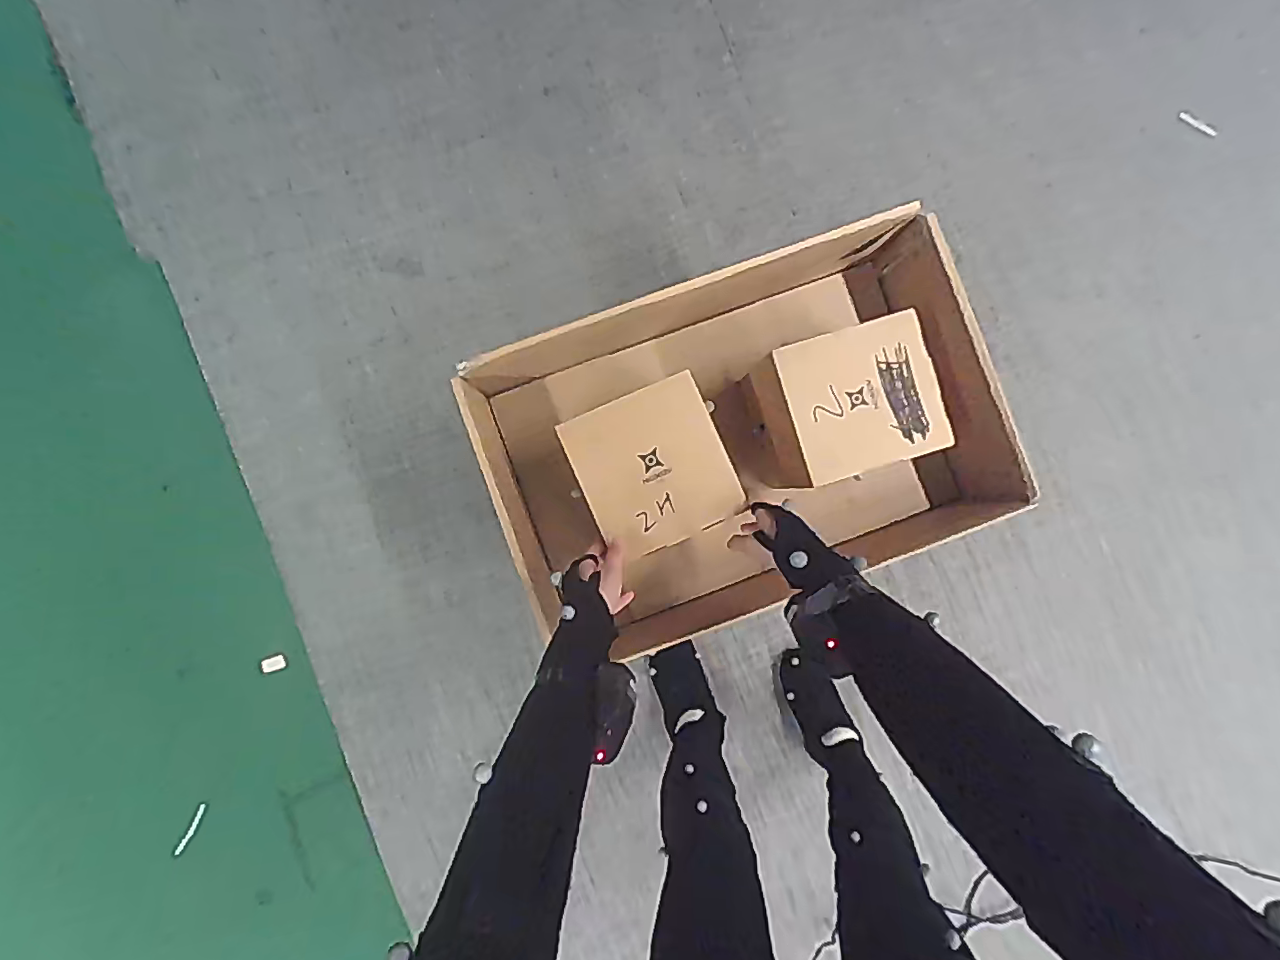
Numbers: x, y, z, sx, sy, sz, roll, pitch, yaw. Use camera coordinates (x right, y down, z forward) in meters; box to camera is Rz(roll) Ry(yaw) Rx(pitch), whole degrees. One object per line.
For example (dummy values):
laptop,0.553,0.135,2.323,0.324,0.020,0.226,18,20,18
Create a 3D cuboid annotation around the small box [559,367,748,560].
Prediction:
small box,0.012,-0.016,0.683,0.168,0.176,0.179,-23,89,-2
